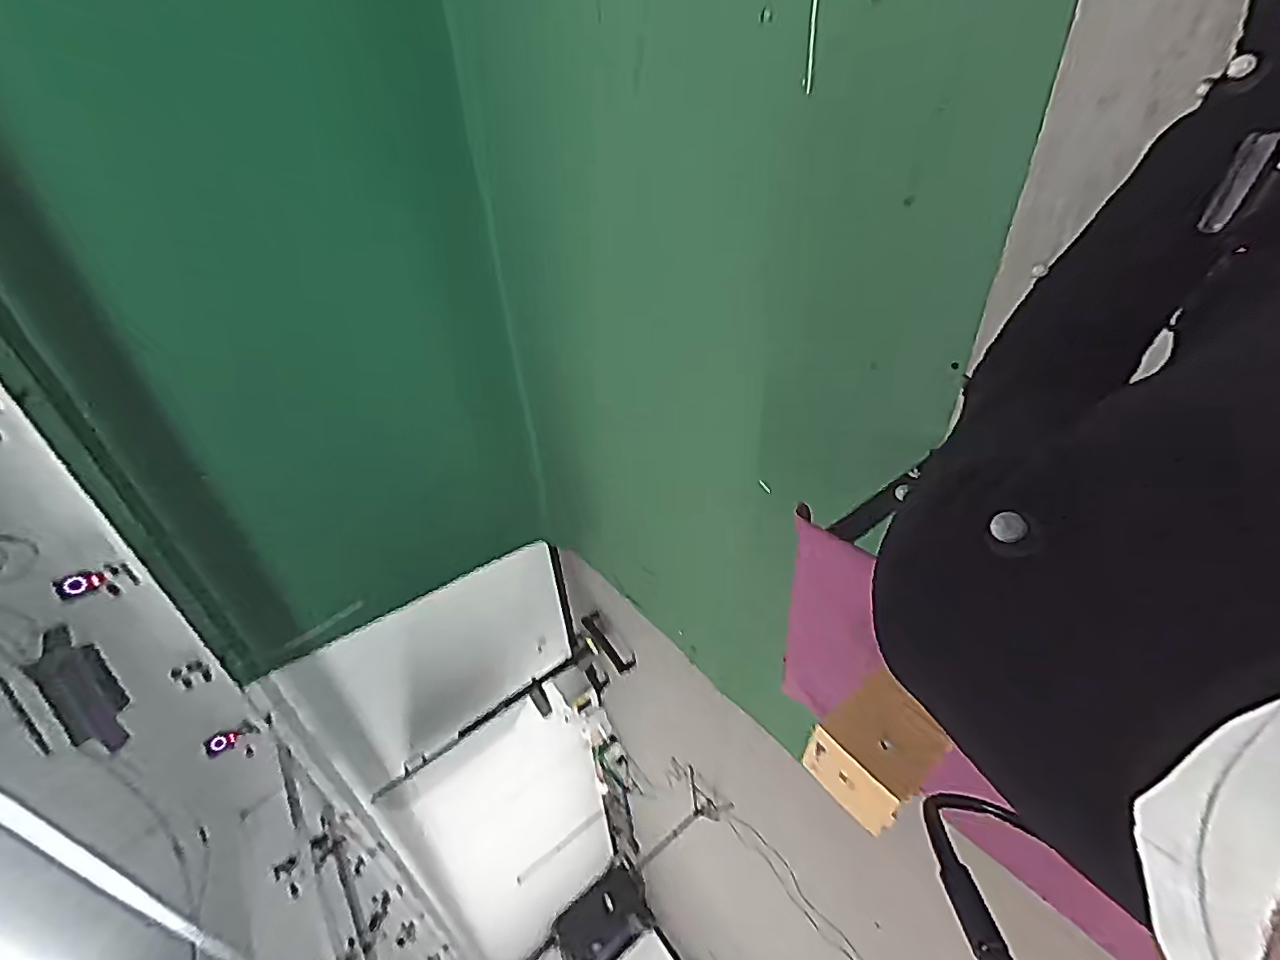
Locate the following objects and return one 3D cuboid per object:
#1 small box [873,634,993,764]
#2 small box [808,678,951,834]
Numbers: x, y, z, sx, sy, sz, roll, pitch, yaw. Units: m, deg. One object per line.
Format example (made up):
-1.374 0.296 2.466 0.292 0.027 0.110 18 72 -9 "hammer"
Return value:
0.588 0.460 1.126 0.179 0.176 0.168 40 144 35 "small box"
0.461 0.525 1.046 0.179 0.176 0.168 37 141 36 "small box"
